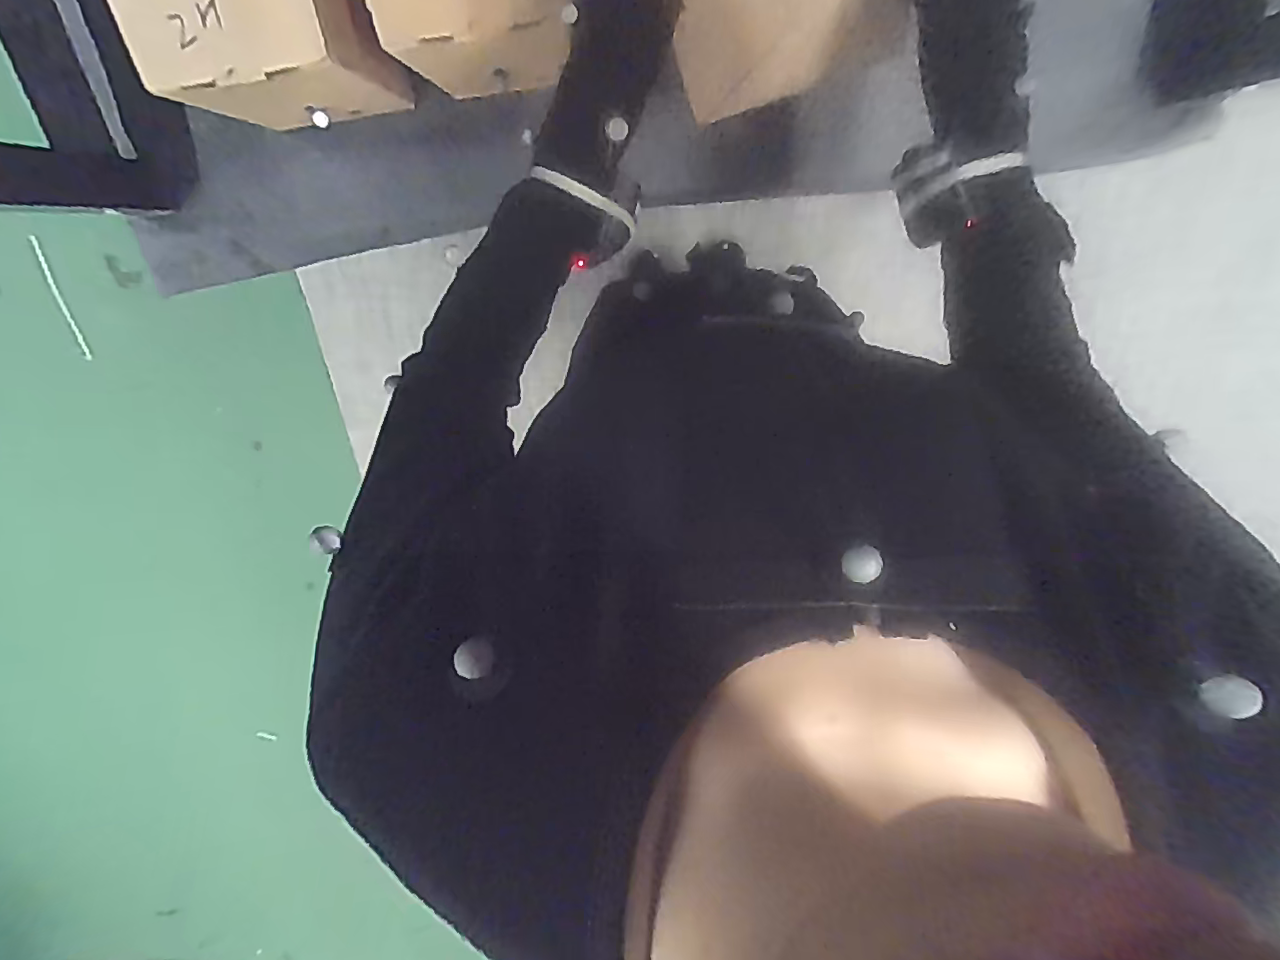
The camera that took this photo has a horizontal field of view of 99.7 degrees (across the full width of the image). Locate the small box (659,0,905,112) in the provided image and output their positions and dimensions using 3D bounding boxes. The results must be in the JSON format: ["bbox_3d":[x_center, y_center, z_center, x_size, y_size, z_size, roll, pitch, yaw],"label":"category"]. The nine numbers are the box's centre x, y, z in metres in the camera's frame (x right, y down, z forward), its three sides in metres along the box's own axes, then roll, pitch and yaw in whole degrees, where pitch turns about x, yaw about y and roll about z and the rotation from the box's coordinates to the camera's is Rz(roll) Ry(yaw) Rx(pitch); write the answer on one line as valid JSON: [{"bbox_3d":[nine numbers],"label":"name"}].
[{"bbox_3d":[0.103,-0.437,0.420,0.179,0.168,0.176,-9,69,20],"label":"small box"}]

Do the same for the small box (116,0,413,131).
[{"bbox_3d":[-0.335,-0.443,0.488,0.168,0.176,0.179,-6,113,5],"label":"small box"}]
